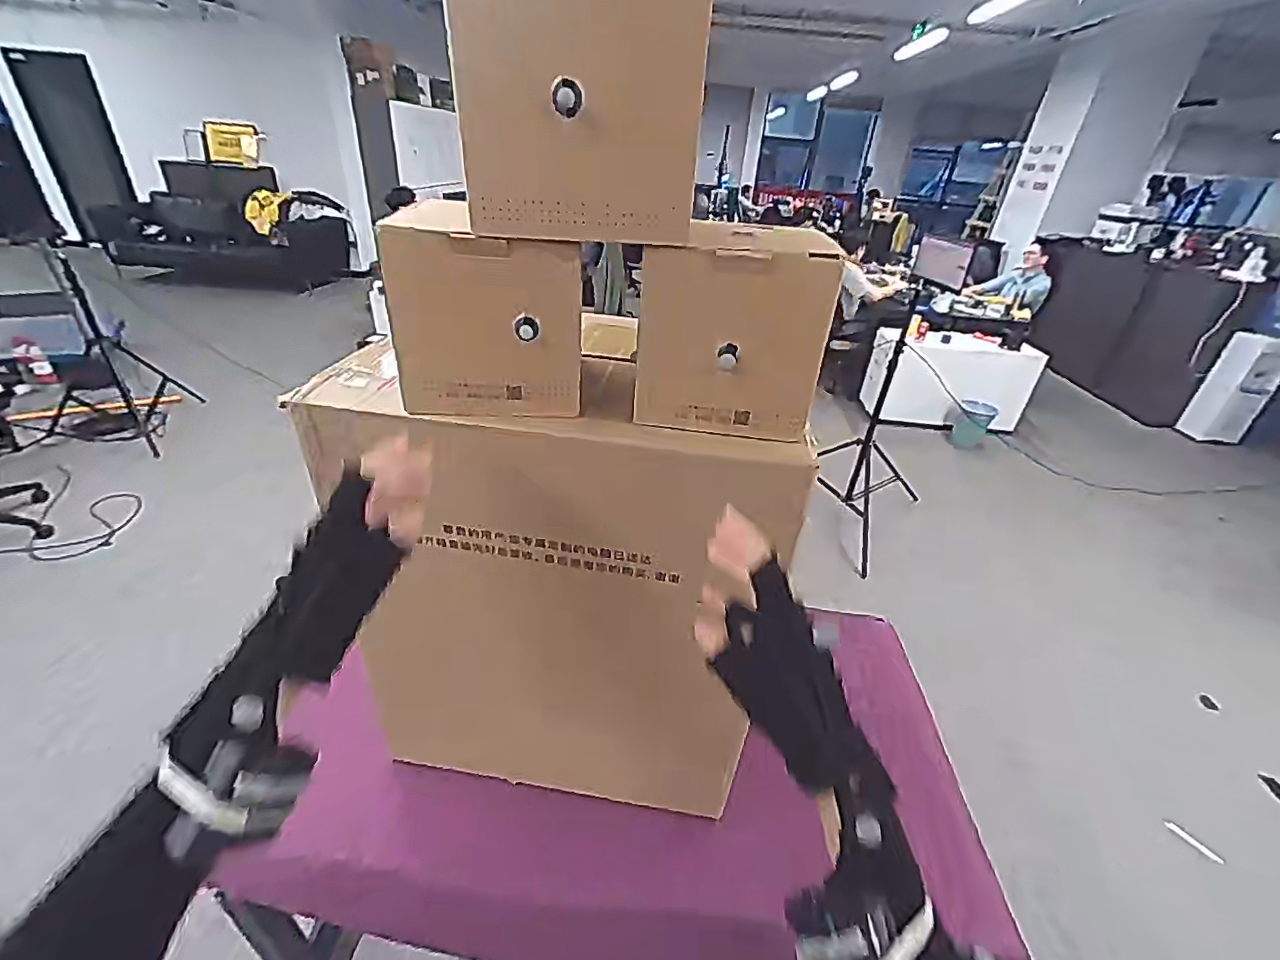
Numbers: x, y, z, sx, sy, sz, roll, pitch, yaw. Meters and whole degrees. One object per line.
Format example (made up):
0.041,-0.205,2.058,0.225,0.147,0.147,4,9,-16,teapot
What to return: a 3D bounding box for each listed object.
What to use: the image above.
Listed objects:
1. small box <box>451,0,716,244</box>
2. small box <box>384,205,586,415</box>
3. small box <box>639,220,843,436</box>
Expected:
-0.040,-0.302,0.456,0.179,0.176,0.168,1,33,-1,small box
-0.140,-0.175,0.554,0.168,0.176,0.179,2,31,-7,small box
0.092,-0.159,0.552,0.168,0.176,0.179,8,33,5,small box
